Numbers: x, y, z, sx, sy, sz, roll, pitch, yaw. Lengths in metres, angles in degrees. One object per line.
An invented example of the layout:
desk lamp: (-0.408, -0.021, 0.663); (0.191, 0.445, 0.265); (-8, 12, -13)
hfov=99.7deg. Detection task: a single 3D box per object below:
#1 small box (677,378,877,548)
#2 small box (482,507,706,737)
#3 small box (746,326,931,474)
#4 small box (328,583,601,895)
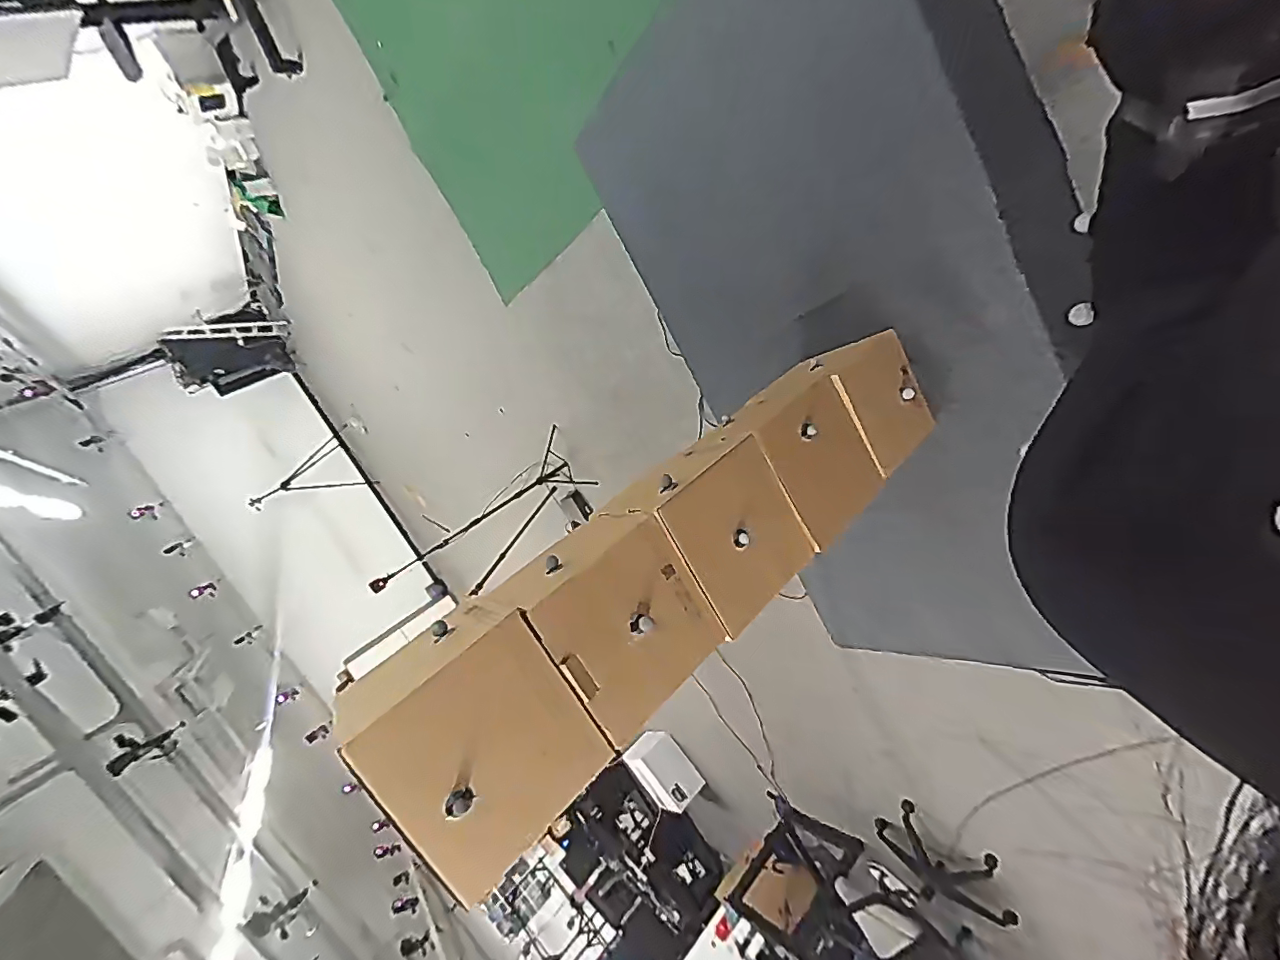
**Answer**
small box: (0.190, -0.025, 0.750); (0.168, 0.176, 0.179); (-15, 108, 59)
small box: (-0.049, 0.143, 0.604); (0.179, 0.176, 0.168); (-14, 108, 58)
small box: (0.304, -0.110, 0.830); (0.179, 0.176, 0.168); (-12, 111, 56)
small box: (-0.166, 0.224, 0.518); (0.168, 0.176, 0.179); (-12, 111, 58)
